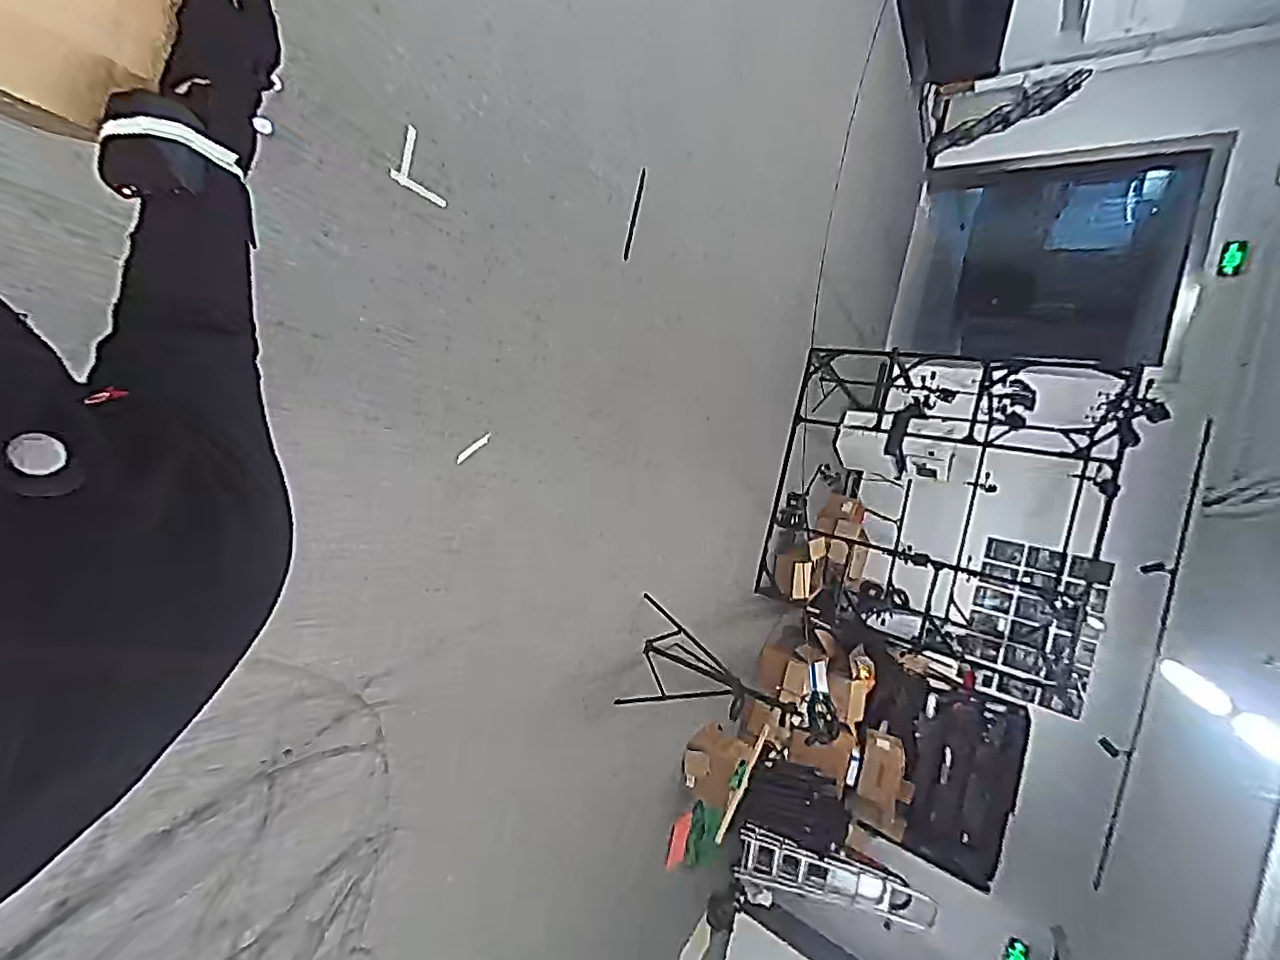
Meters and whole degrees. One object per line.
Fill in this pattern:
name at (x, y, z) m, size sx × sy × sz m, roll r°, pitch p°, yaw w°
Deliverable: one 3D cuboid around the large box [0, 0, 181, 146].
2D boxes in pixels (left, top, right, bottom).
large box at (-0.575, -0.476, 0.324) m, size 0.408 × 0.320 × 0.320 m, roll 4°, pitch 110°, yaw -61°
